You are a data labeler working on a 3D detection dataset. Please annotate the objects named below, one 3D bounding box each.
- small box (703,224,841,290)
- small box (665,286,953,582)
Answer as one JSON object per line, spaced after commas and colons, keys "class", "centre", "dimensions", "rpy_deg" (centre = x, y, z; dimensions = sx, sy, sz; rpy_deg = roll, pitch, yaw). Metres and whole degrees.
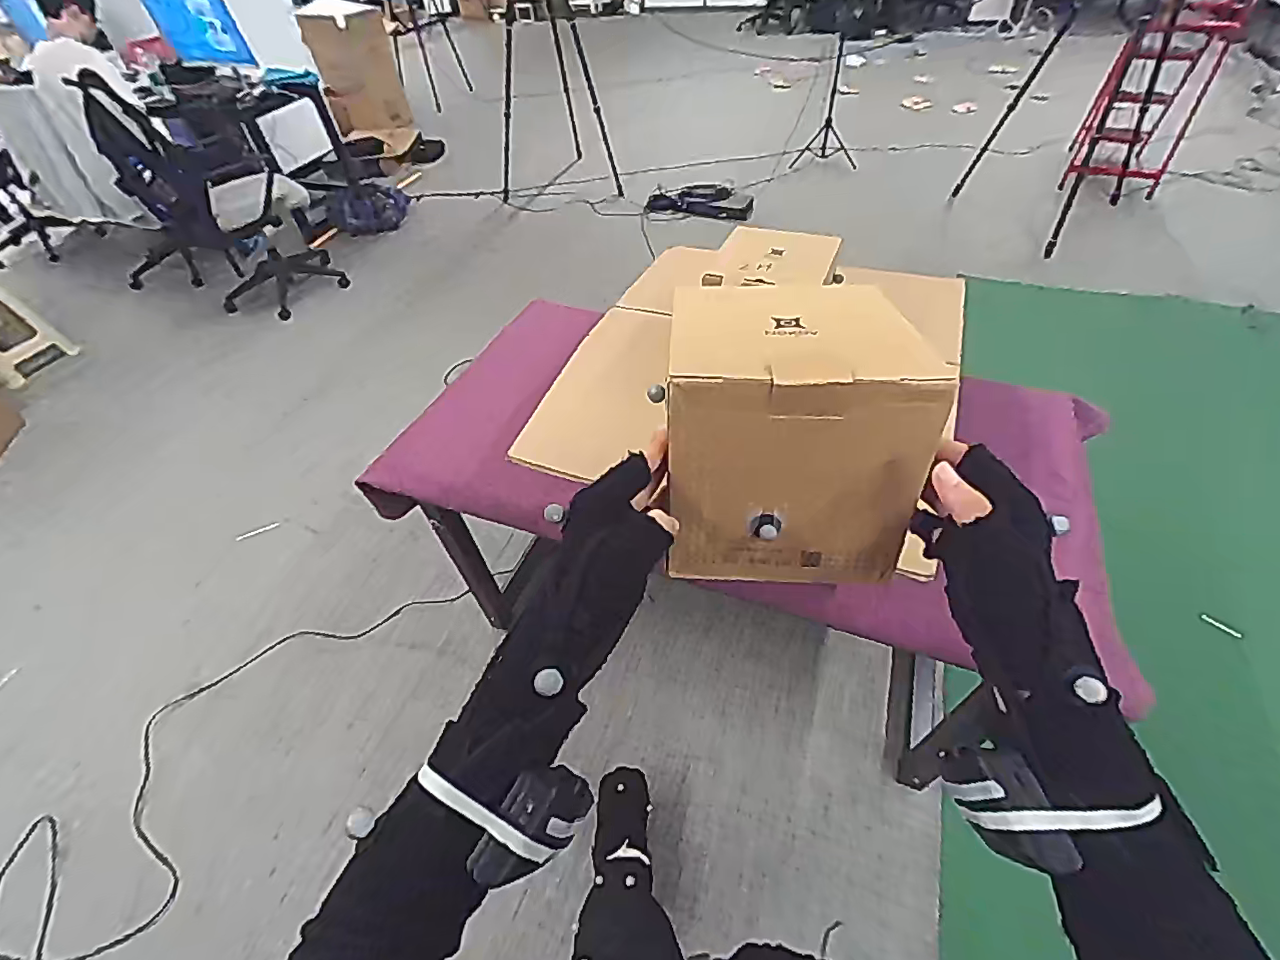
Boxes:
{"class": "small box", "centre": [0.200, -0.273, 0.847], "dimensions": [0.168, 0.176, 0.179], "rpy_deg": [16, 51, 19]}
{"class": "small box", "centre": [0.106, -0.043, 0.428], "dimensions": [0.168, 0.176, 0.179], "rpy_deg": [1, 37, 4]}
